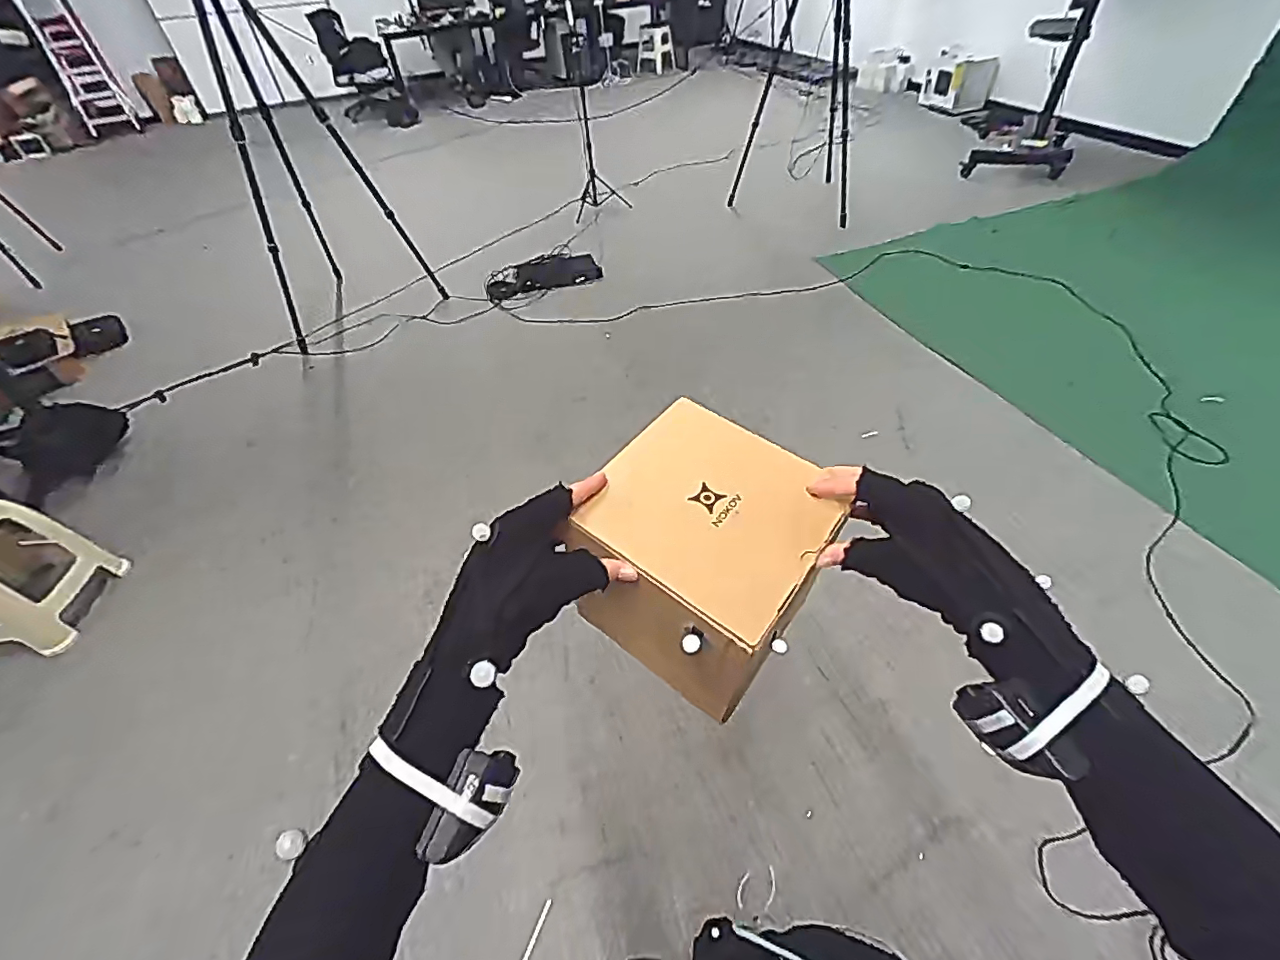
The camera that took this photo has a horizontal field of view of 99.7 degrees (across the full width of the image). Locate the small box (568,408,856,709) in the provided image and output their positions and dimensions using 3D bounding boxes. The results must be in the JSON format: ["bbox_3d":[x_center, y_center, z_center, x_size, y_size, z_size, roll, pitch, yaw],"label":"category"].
[{"bbox_3d":[0.056,0.073,0.489,0.179,0.176,0.168,32,57,22],"label":"small box"}]
